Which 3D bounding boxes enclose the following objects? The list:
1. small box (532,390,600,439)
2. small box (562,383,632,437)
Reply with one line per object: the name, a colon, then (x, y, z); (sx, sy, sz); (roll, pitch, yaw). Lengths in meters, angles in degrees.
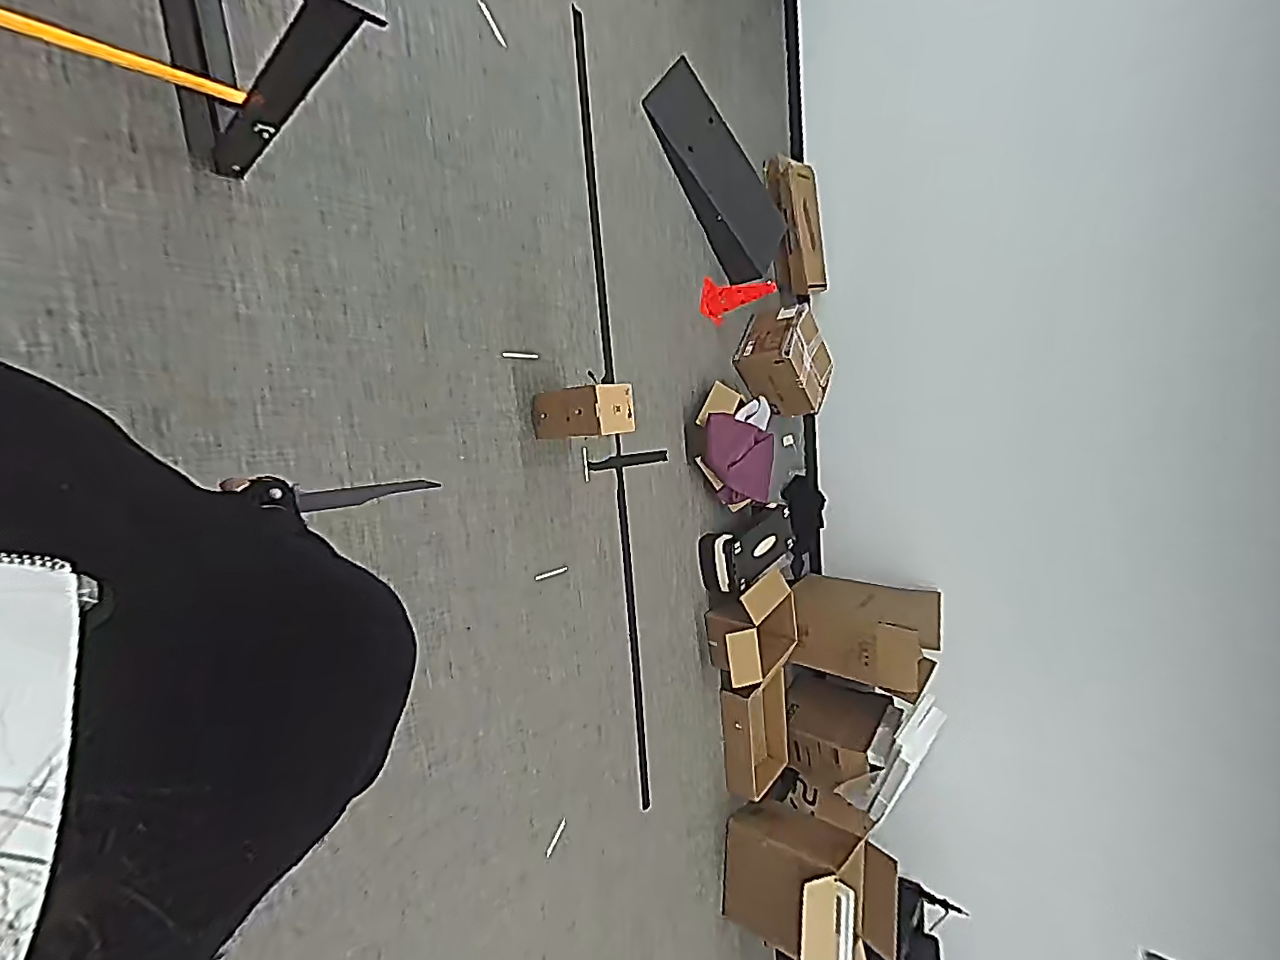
small box: (-0.268, -0.235, 1.954); (0.179, 0.176, 0.168); (-10, 98, -49)
small box: (-0.151, -0.238, 1.839); (0.179, 0.176, 0.168); (-13, 100, -48)
